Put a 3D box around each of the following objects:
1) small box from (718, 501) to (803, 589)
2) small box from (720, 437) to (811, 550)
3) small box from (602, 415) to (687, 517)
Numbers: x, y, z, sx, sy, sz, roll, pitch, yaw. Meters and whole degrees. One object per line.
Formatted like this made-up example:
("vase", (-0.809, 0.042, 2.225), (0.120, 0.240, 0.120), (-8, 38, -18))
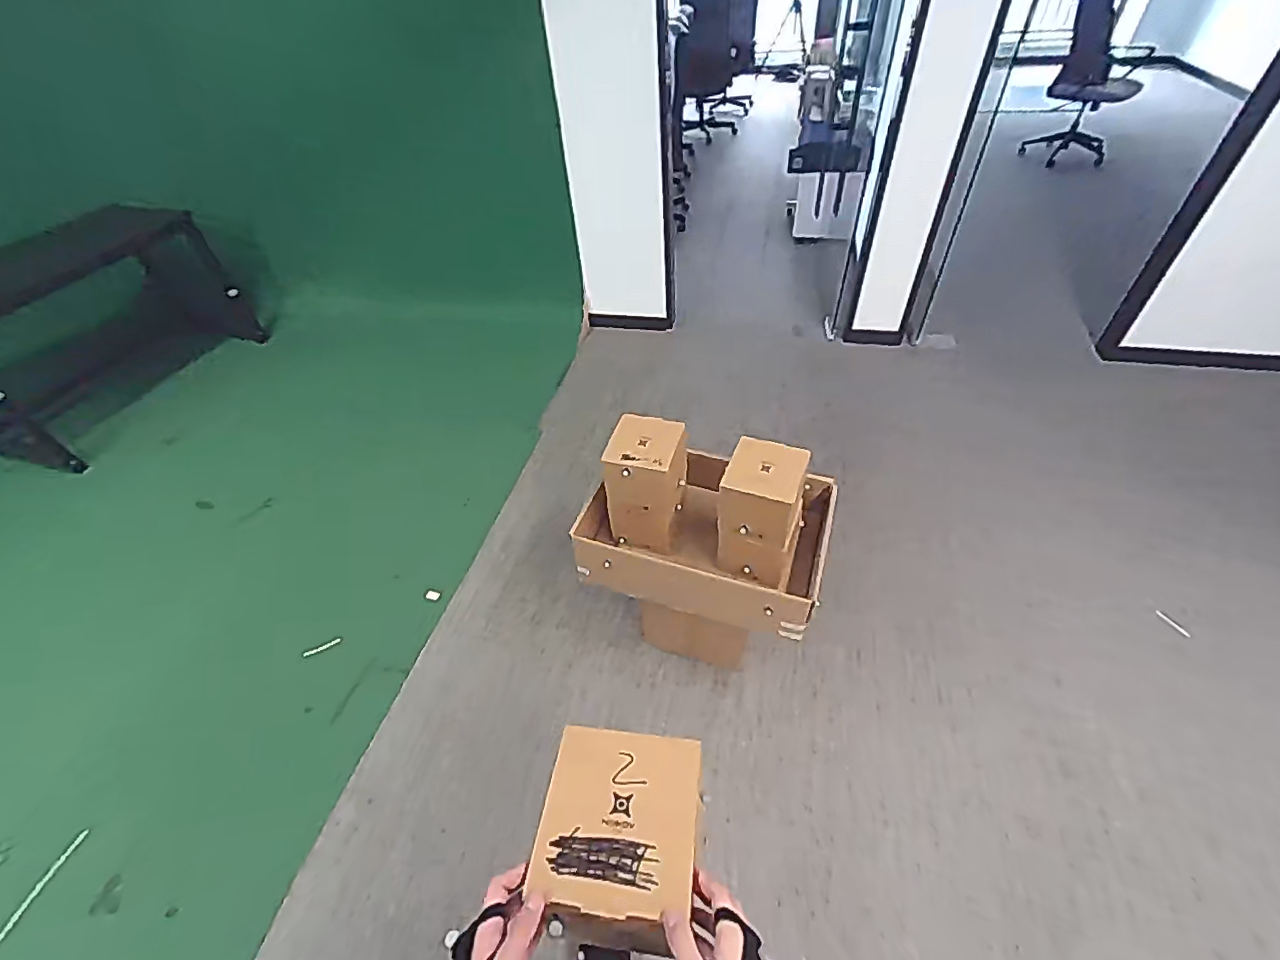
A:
("small box", (0.303, 0.145, 1.379), (0.168, 0.176, 0.179), (16, 50, 19))
("small box", (0.288, 0.031, 1.263), (0.168, 0.176, 0.179), (15, 50, 19))
("small box", (0.017, -0.035, 1.348), (0.168, 0.176, 0.179), (10, 47, 15))
